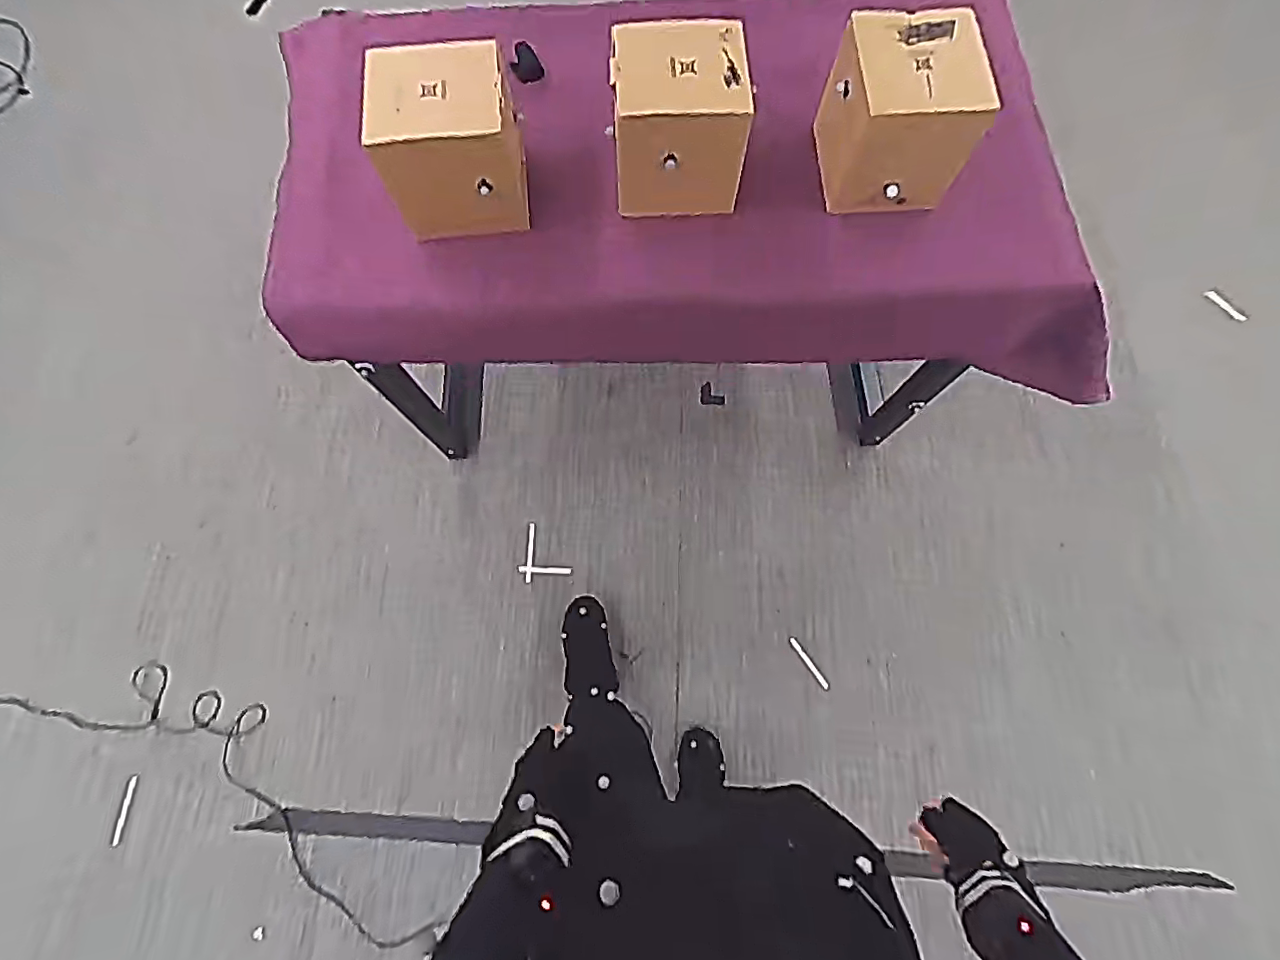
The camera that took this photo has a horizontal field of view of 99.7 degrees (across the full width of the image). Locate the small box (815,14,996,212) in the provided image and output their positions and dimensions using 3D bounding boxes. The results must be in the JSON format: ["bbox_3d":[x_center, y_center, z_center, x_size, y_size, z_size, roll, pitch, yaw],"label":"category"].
[{"bbox_3d":[0.364,-0.519,0.780,0.168,0.176,0.179,-3,73,0],"label":"small box"}]

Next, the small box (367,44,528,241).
[{"bbox_3d":[-0.261,-0.471,0.773,0.179,0.176,0.168,-7,72,-1],"label":"small box"}]

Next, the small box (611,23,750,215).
[{"bbox_3d":[0.053,-0.509,0.781,0.179,0.176,0.168,-3,73,0],"label":"small box"}]
